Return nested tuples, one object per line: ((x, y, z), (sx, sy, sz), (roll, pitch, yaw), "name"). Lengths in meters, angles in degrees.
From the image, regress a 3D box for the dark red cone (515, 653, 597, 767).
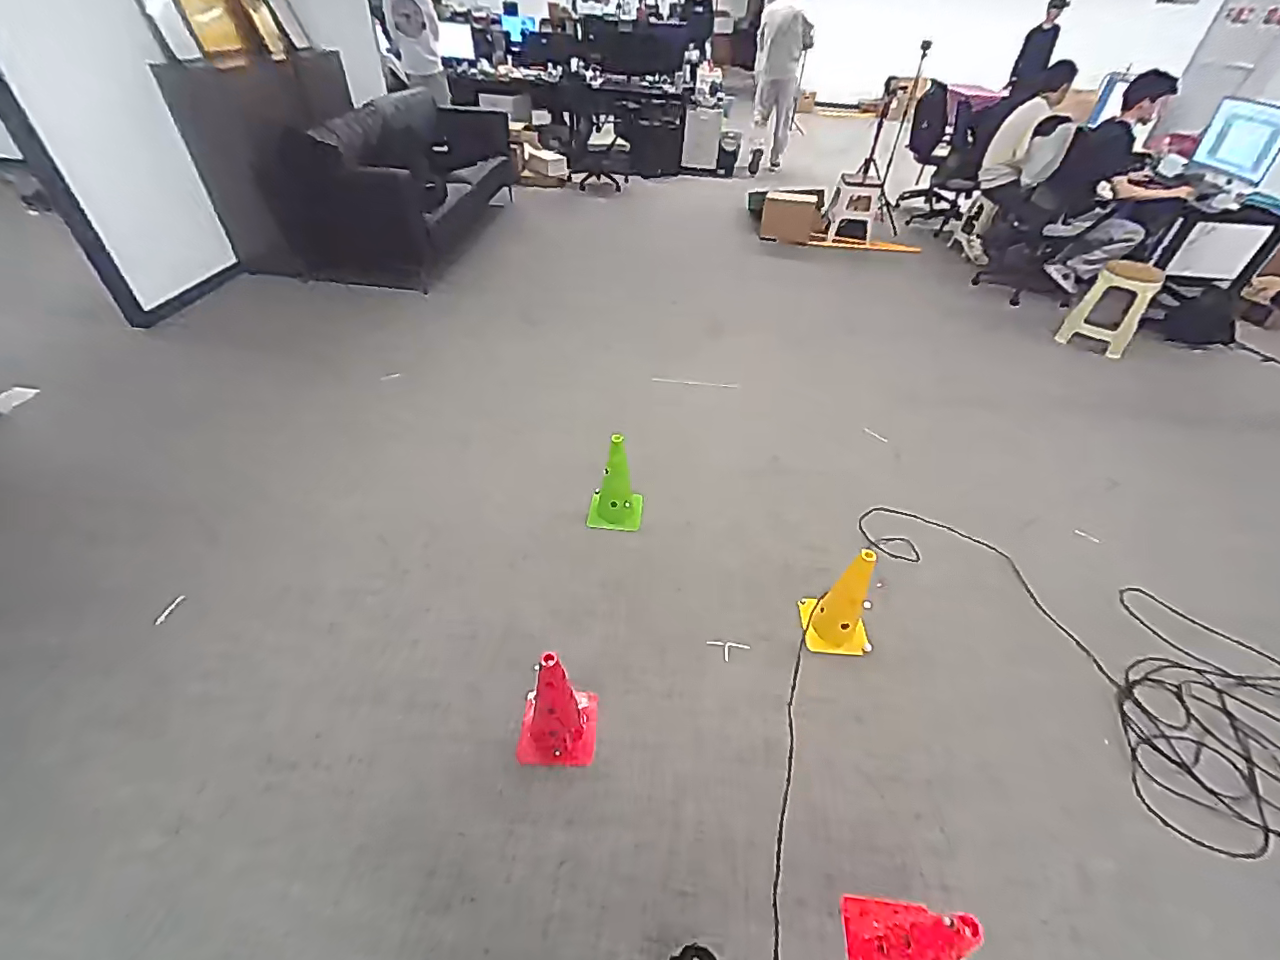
((-0.211, 0.541, 1.334), (0.202, 0.394, 0.201), (2, 43, -1), "dark red cone")

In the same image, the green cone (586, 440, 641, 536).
((-0.089, 0.010, 1.983), (0.202, 0.368, 0.200), (6, 42, 1), "green cone")

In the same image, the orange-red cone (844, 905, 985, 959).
((0.546, 0.893, 1.017), (0.198, 0.360, 0.199), (7, 40, 3), "orange-red cone")
